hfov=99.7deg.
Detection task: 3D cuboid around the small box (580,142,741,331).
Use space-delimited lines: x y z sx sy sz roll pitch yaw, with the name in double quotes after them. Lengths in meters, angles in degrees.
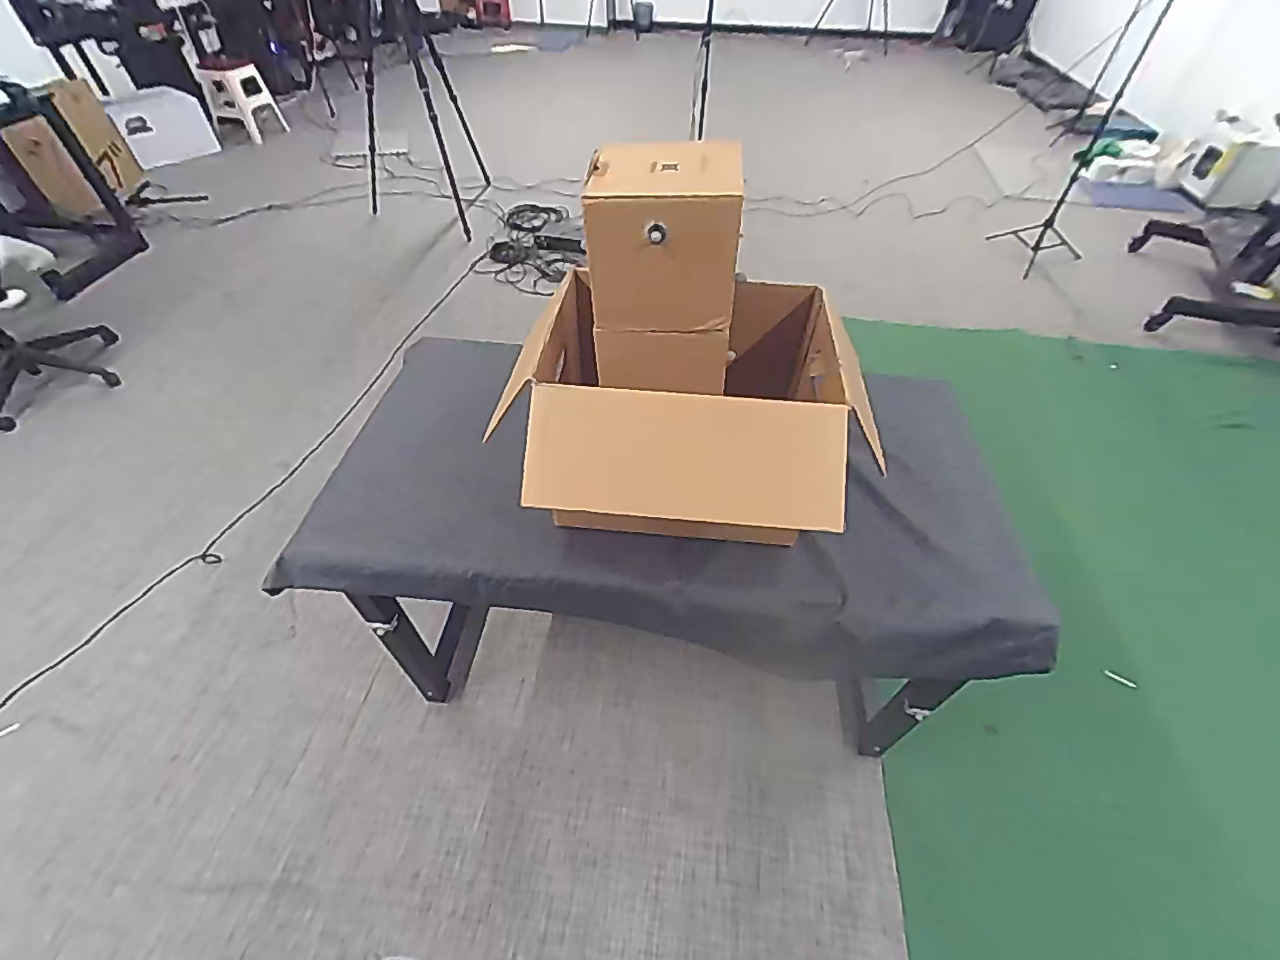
0.031 -0.305 0.685 0.179 0.176 0.168 3 50 4 "small box"
